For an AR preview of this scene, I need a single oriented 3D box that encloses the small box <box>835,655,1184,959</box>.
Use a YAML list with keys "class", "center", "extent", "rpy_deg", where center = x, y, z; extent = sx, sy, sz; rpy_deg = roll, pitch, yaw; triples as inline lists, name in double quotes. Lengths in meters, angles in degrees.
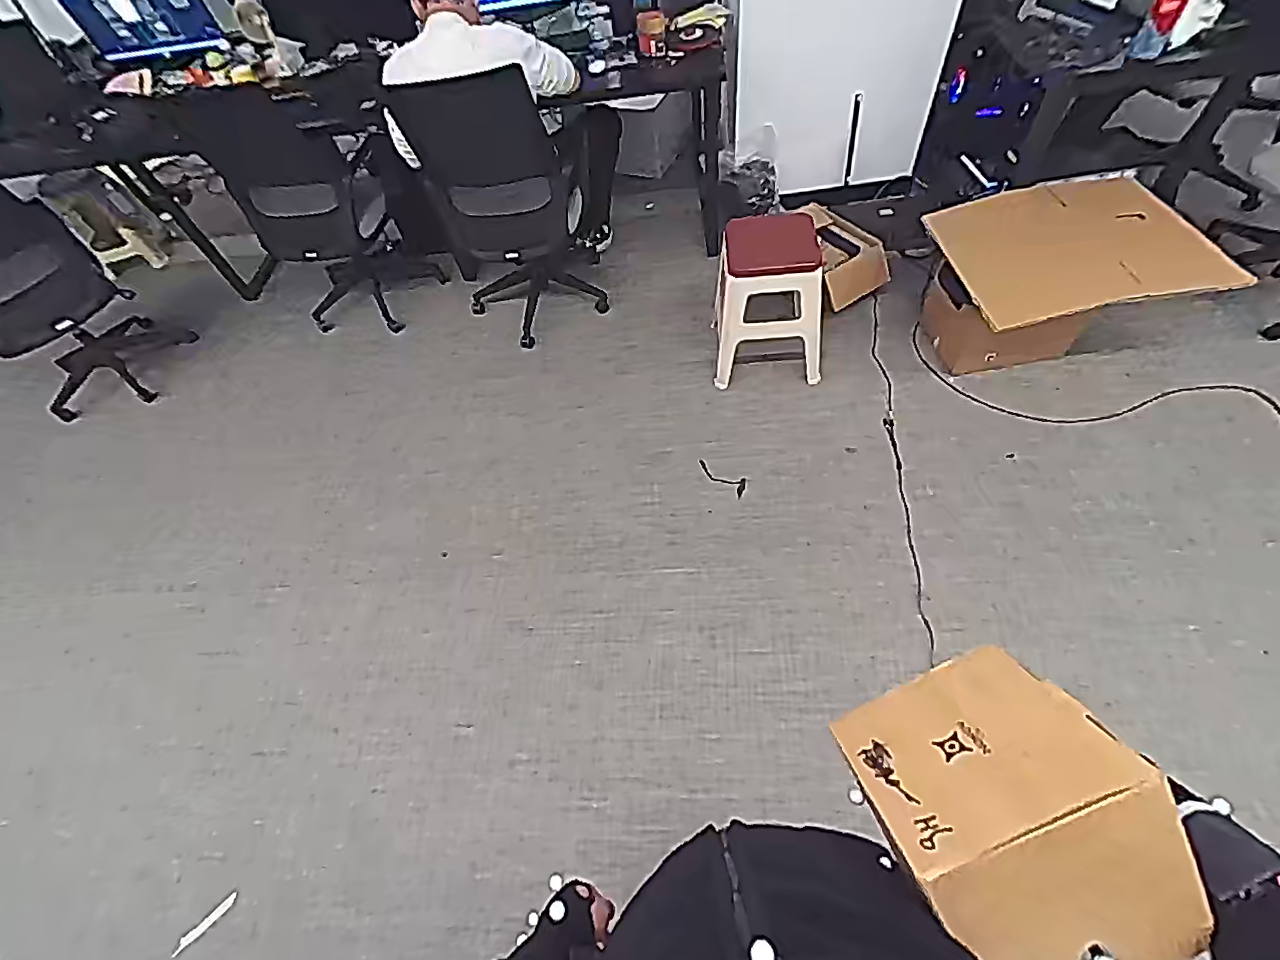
- class: "small box"
  center: [0.306, 0.294, 0.467]
  extent: [0.179, 0.176, 0.168]
  rpy_deg: [-27, 12, 4]
